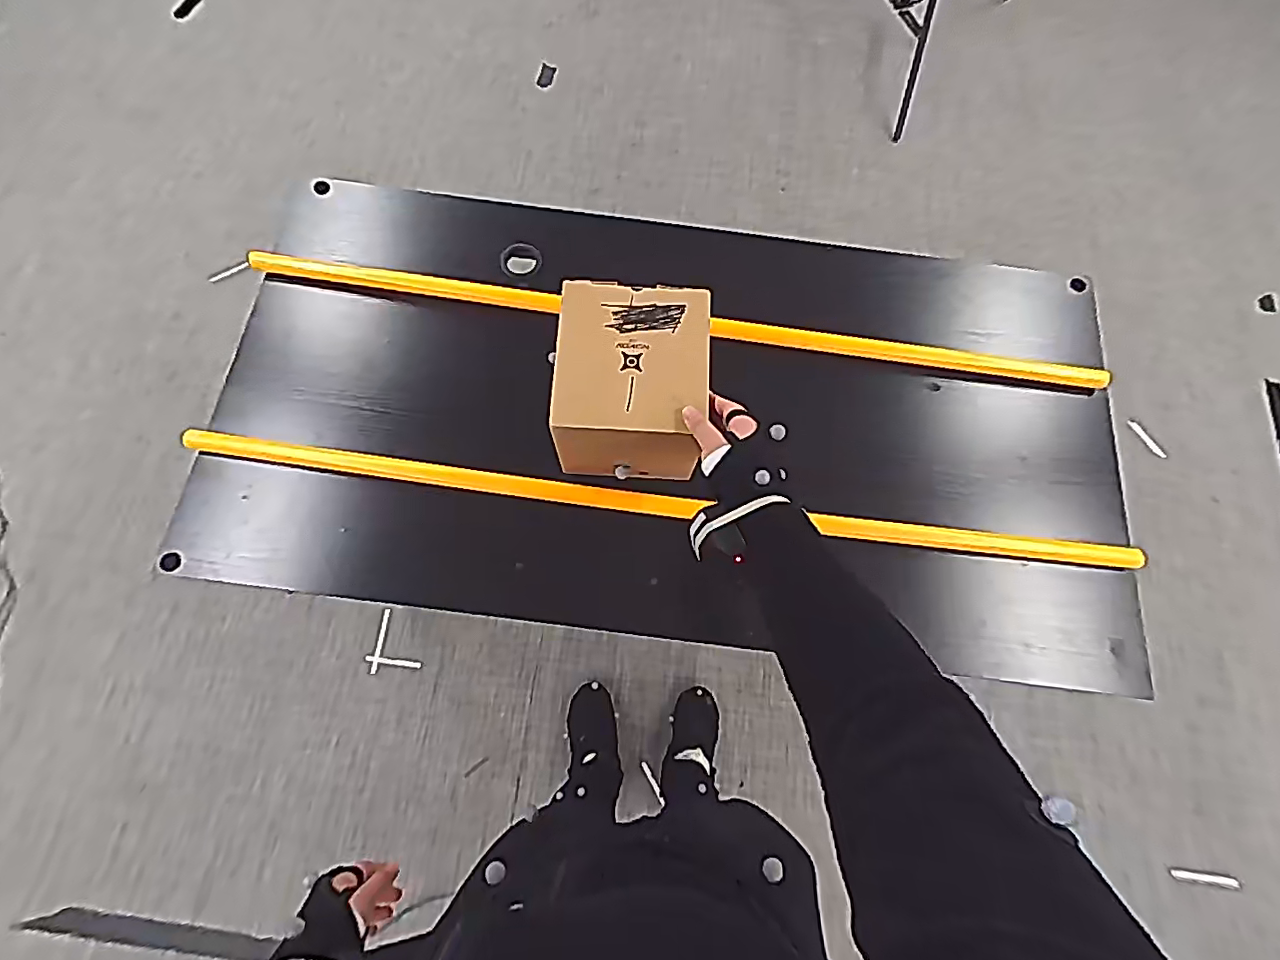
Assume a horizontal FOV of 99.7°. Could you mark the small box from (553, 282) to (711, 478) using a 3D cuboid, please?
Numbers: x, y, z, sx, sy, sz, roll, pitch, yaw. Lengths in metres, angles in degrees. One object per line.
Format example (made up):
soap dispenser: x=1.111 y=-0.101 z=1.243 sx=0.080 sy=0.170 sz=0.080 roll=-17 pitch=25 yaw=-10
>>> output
small box: x=-0.009 y=-0.113 z=0.660 sx=0.168 sy=0.176 sz=0.179 roll=3 pitch=74 yaw=-1
